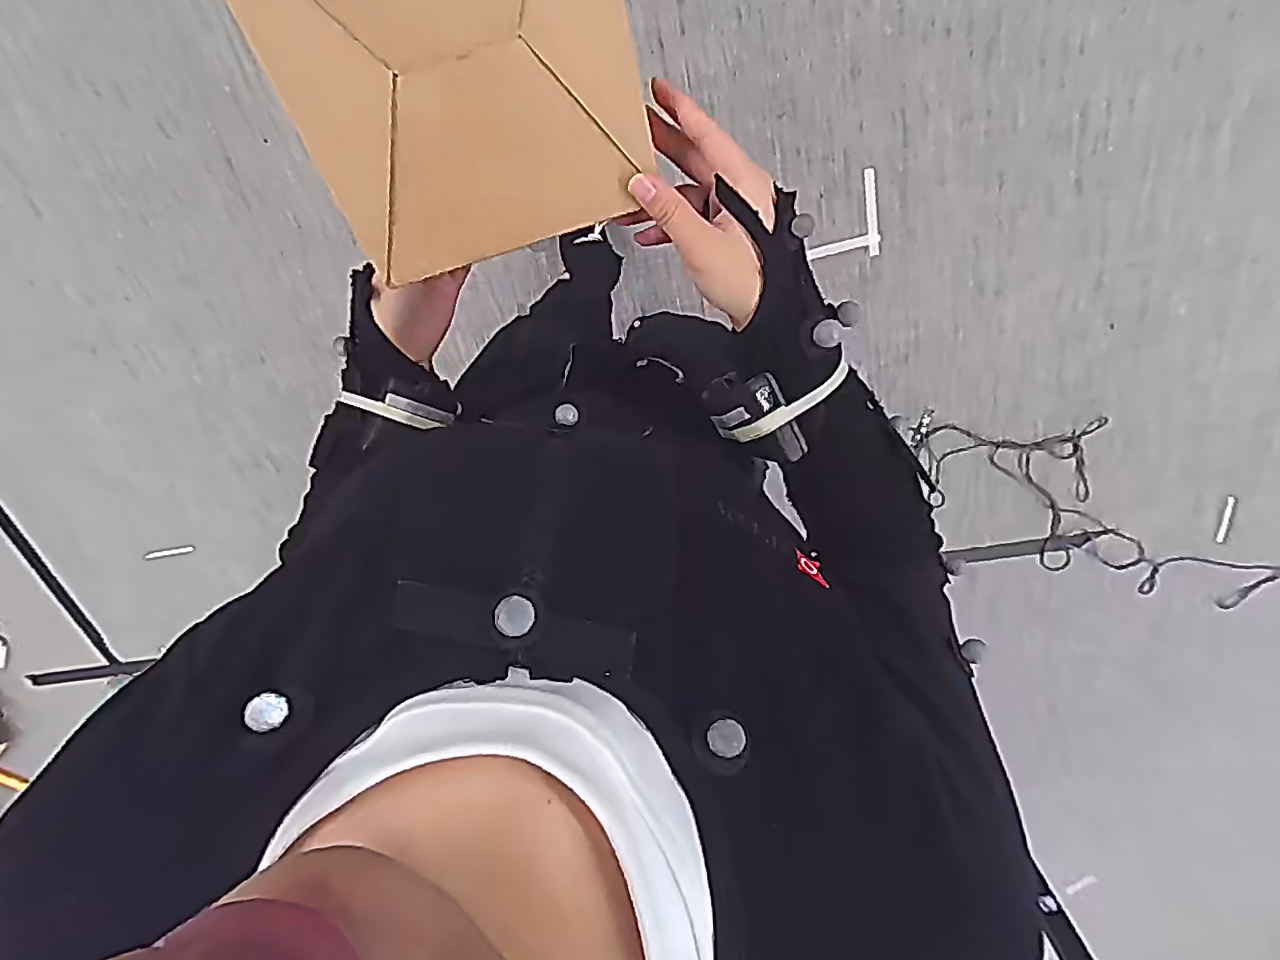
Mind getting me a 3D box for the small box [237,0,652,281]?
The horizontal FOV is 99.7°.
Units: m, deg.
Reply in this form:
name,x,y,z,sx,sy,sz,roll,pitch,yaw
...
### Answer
name,x,y,z,sx,sy,sz,roll,pitch,yaw
small box,-0.101,-0.245,0.316,0.168,0.176,0.179,-18,128,-1
